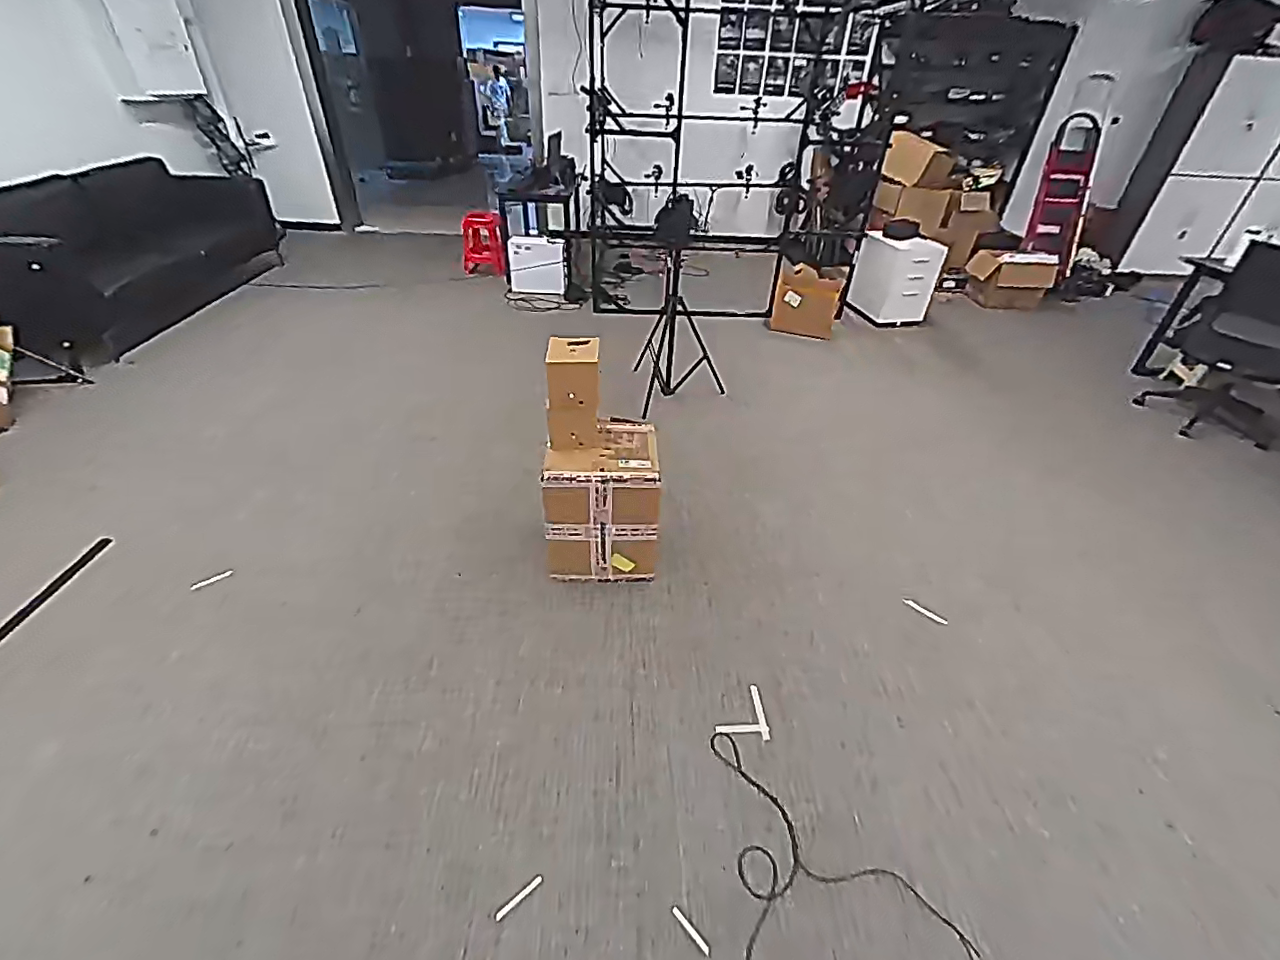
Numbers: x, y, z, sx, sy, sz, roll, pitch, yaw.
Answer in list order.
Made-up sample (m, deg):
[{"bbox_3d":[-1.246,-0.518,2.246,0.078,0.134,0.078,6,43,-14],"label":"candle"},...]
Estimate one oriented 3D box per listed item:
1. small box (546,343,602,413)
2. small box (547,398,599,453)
[{"bbox_3d":[-0.214,-0.339,1.784,0.168,0.176,0.179,-1,39,-1],"label":"small box"},{"bbox_3d":[-0.231,-0.212,1.889,0.168,0.176,0.179,-3,39,-4],"label":"small box"}]
